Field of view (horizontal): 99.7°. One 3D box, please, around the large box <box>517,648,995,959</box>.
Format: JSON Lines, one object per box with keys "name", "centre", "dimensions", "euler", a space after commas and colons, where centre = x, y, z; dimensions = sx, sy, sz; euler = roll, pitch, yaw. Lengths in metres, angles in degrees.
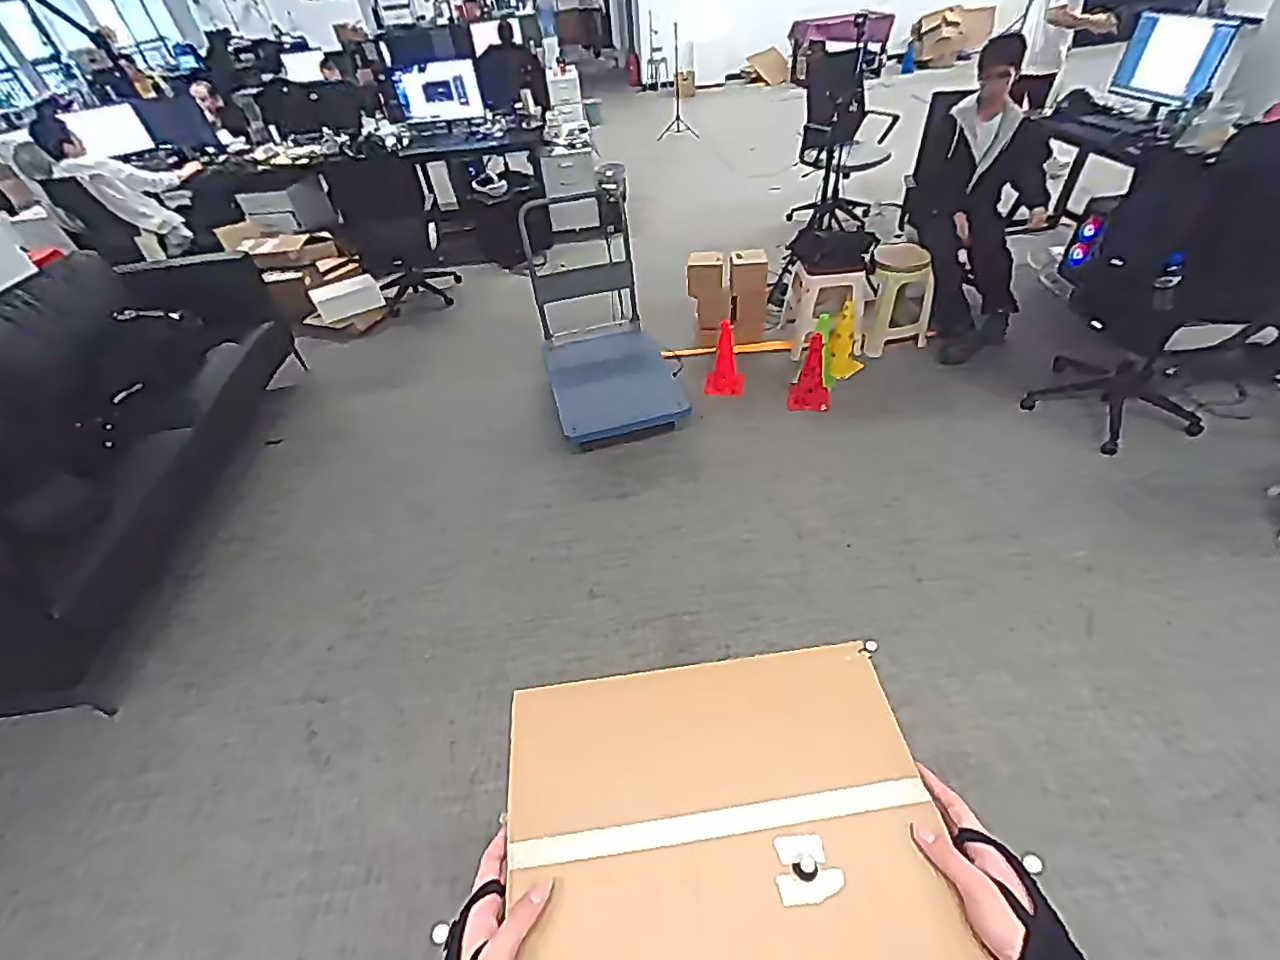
{"name": "large box", "centre": [0.086, 0.436, 0.629], "dimensions": [0.408, 0.320, 0.320], "euler": [-7, 47, -3]}
